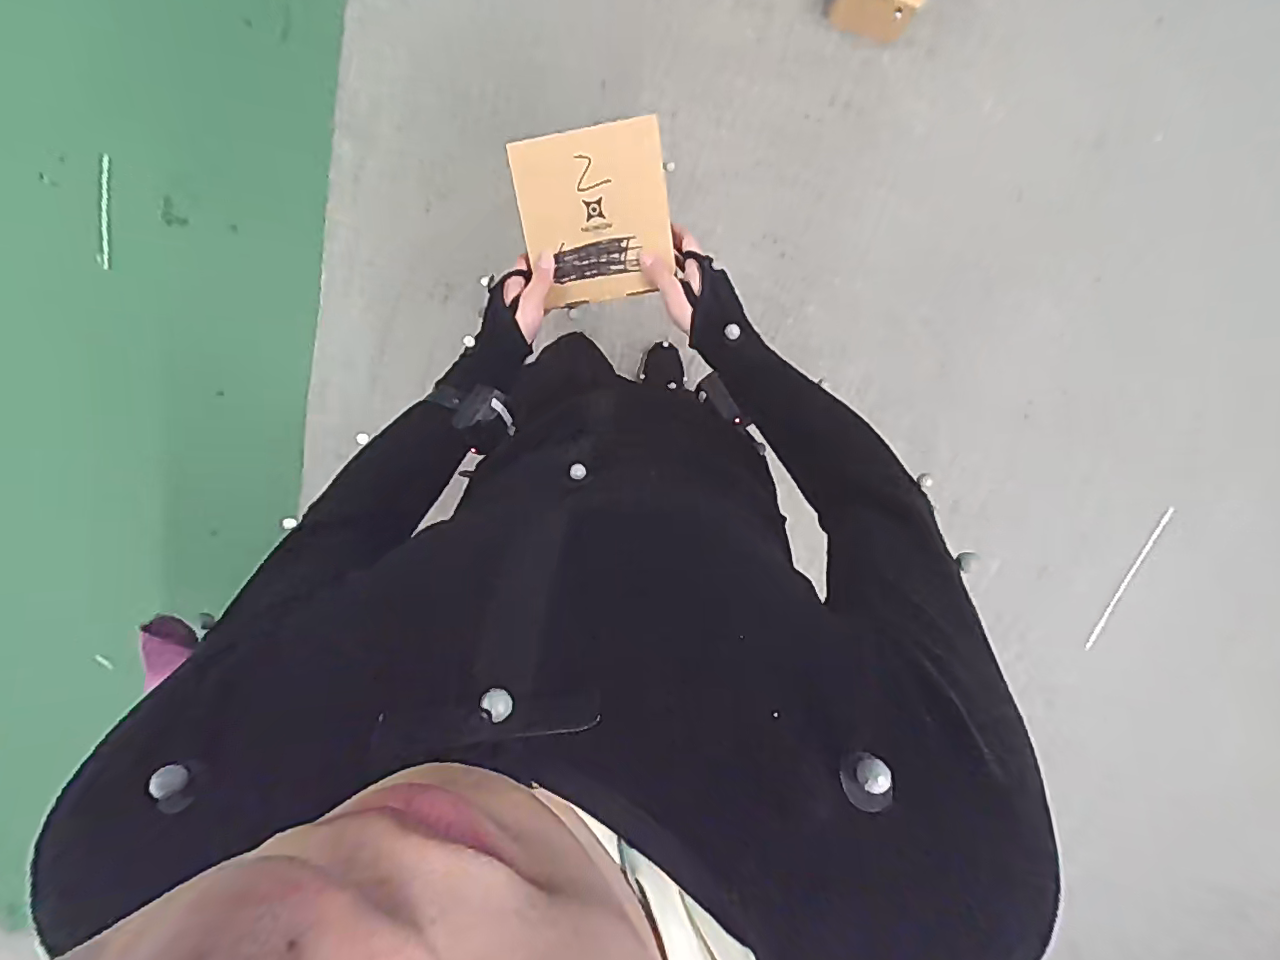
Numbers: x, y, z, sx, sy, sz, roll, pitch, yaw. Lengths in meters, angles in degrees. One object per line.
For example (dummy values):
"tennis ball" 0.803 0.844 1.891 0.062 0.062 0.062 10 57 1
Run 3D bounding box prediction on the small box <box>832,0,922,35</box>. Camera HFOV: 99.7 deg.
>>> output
"small box" 0.537 -1.106 1.159 0.179 0.176 0.168 19 108 -1
